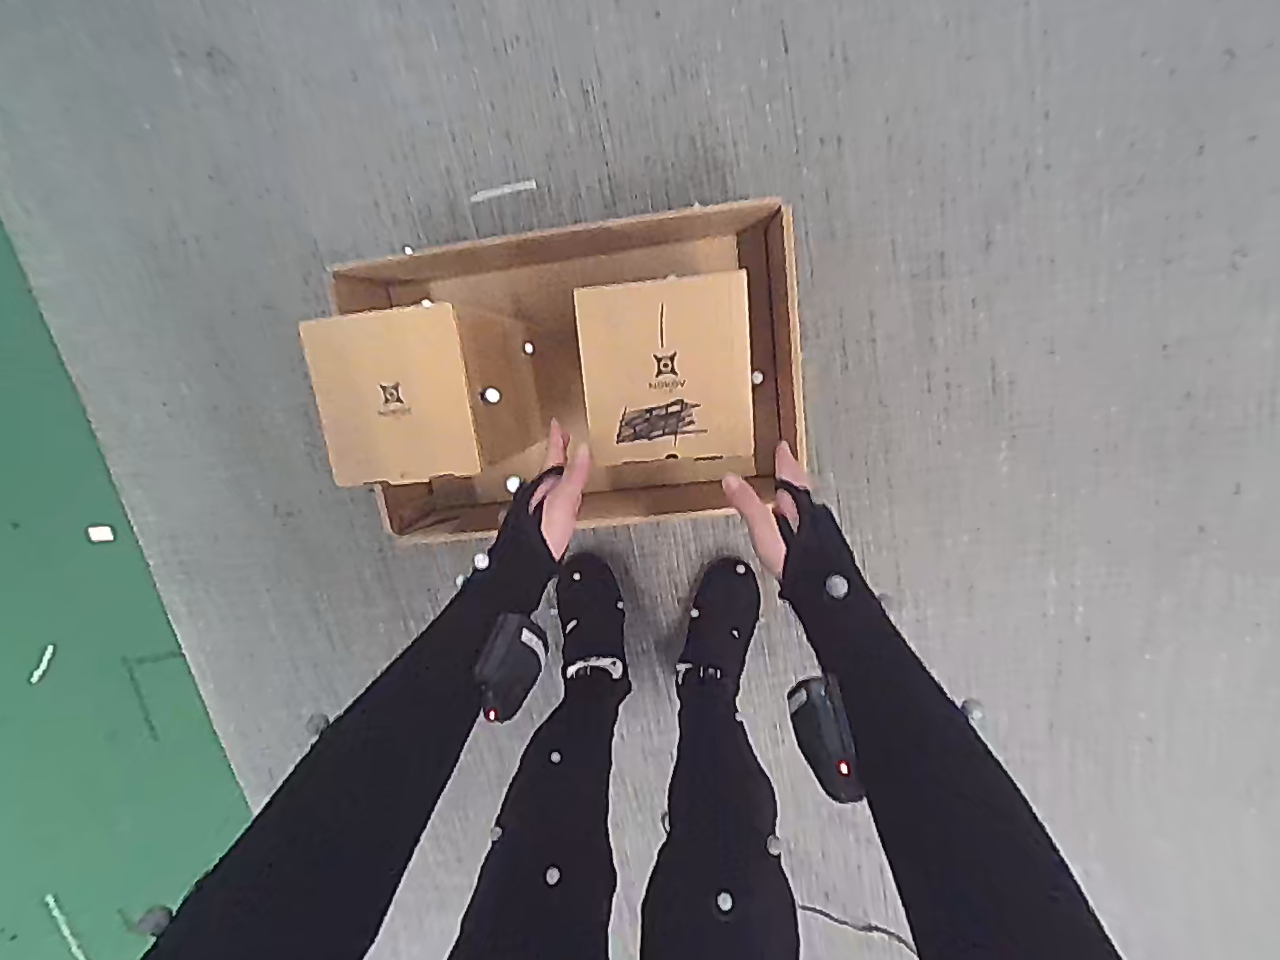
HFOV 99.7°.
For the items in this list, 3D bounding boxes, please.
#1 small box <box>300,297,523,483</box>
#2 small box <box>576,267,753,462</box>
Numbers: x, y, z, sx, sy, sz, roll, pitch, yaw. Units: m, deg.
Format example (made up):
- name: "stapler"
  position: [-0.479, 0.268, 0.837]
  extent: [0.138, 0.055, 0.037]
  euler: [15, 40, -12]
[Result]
- name: "small box"
  position: [-0.246, -0.104, 0.628]
  extent: [0.168, 0.176, 0.179]
  euler: [-5, 102, 5]
- name: "small box"
  position: [0.035, -0.124, 0.596]
  extent: [0.168, 0.176, 0.179]
  euler: [-3, 102, 7]
